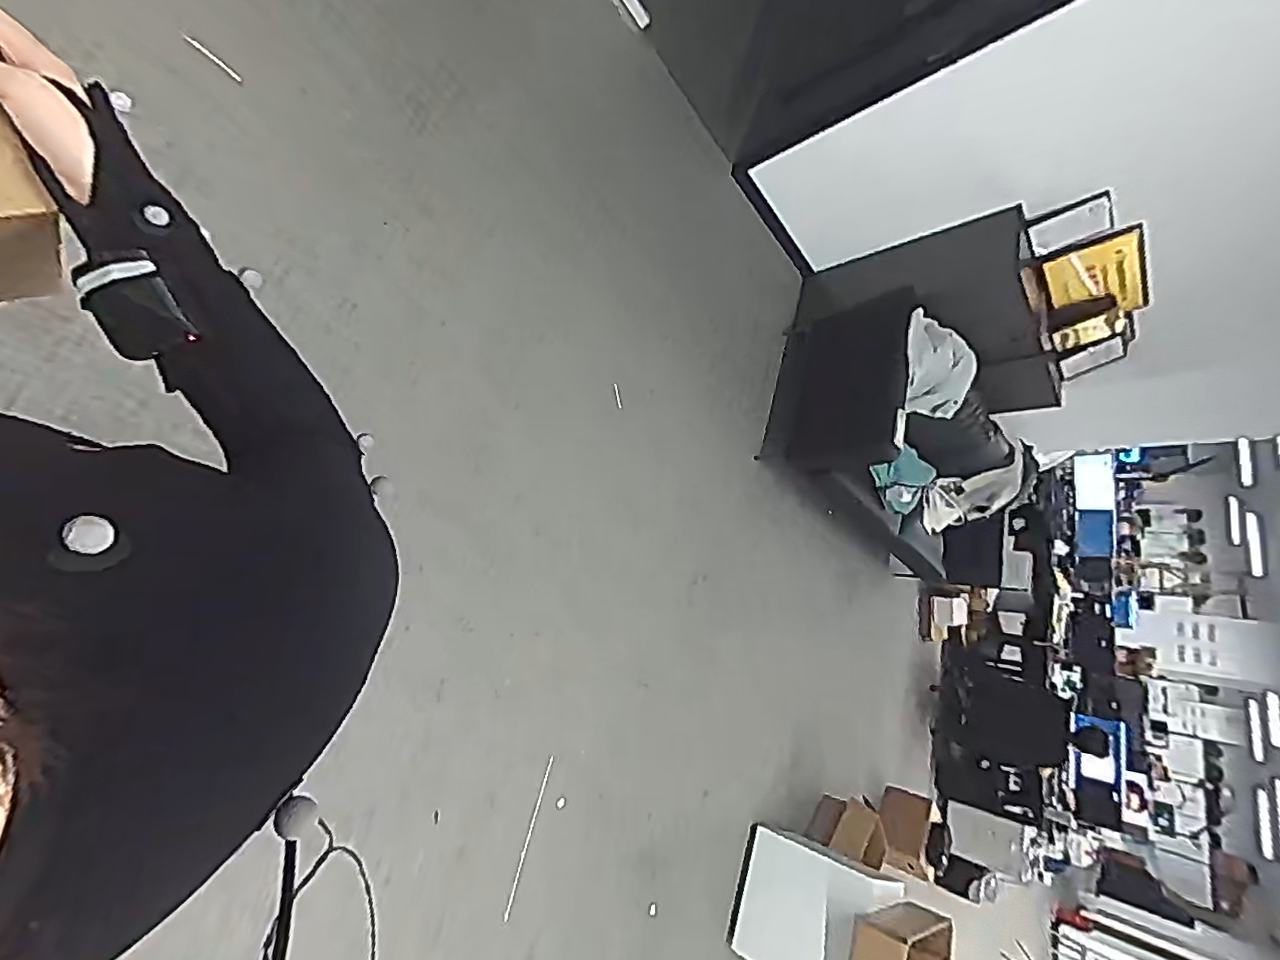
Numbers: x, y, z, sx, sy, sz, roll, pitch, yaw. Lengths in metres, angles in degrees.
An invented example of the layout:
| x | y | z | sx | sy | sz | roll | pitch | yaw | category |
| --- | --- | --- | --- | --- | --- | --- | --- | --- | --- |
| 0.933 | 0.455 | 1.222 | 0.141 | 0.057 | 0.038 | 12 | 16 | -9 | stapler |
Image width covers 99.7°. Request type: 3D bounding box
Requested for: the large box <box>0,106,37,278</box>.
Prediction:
| x | y | z | sx | sy | sz | roll | pitch | yaw | category |
| --- | --- | --- | --- | --- | --- | --- | --- | --- | --- |
| -0.678 | -0.259 | 0.283 | 0.408 | 0.320 | 0.320 | -34 | 119 | -42 | large box |
